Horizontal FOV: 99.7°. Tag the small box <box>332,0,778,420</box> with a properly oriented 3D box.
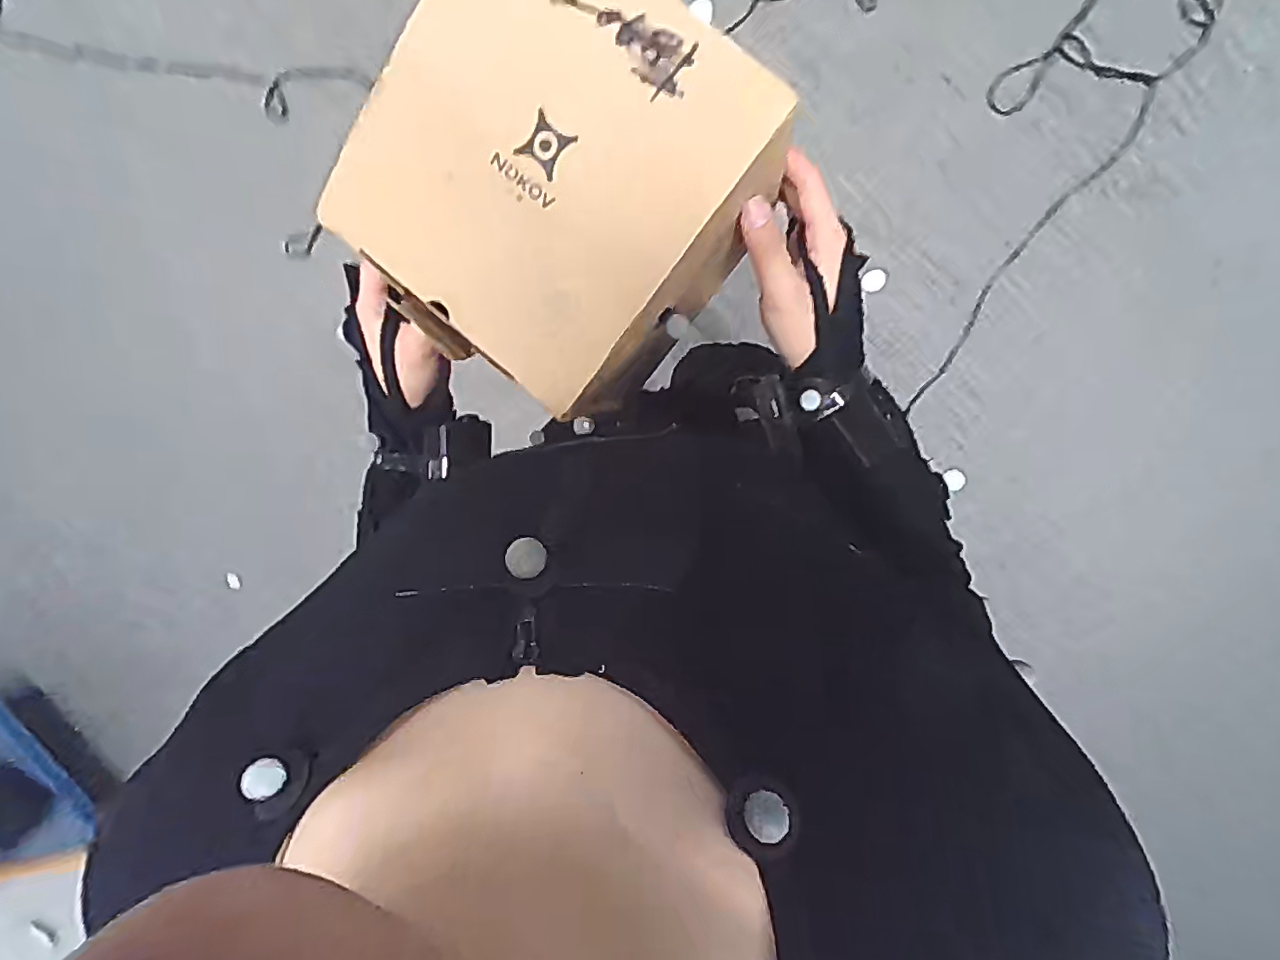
[{"bbox_3d":[-0.035,-0.159,0.338,0.168,0.176,0.179,40,105,1],"label":"small box"}]
